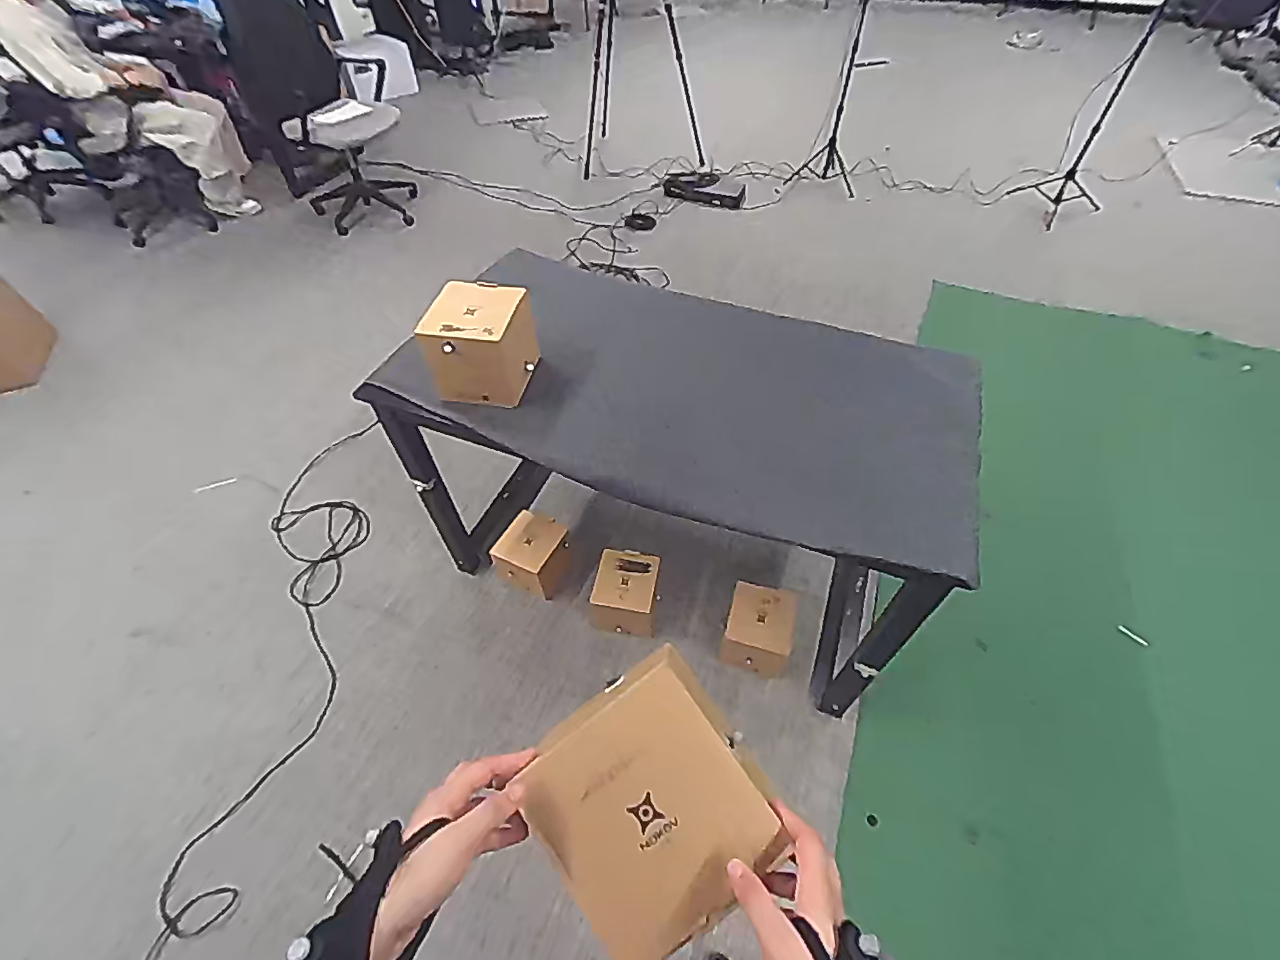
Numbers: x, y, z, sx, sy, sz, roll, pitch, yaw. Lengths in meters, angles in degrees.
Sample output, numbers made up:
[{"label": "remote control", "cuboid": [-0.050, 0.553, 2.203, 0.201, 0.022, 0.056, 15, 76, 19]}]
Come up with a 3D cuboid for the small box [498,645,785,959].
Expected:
[{"label": "small box", "cuboid": [0.005, 0.276, 0.505, 0.168, 0.176, 0.179, -37, 78, -4]}]

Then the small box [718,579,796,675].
[{"label": "small box", "cuboid": [0.313, 0.402, 1.460, 0.168, 0.176, 0.179, 14, 52, 11]}]

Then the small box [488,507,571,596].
[{"label": "small box", "cuboid": [-0.321, 0.220, 1.623, 0.168, 0.176, 0.179, 21, 53, 17]}]

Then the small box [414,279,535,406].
[{"label": "small box", "cuboid": [-0.318, -0.274, 1.082, 0.168, 0.176, 0.179, 7, 51, 7]}]
